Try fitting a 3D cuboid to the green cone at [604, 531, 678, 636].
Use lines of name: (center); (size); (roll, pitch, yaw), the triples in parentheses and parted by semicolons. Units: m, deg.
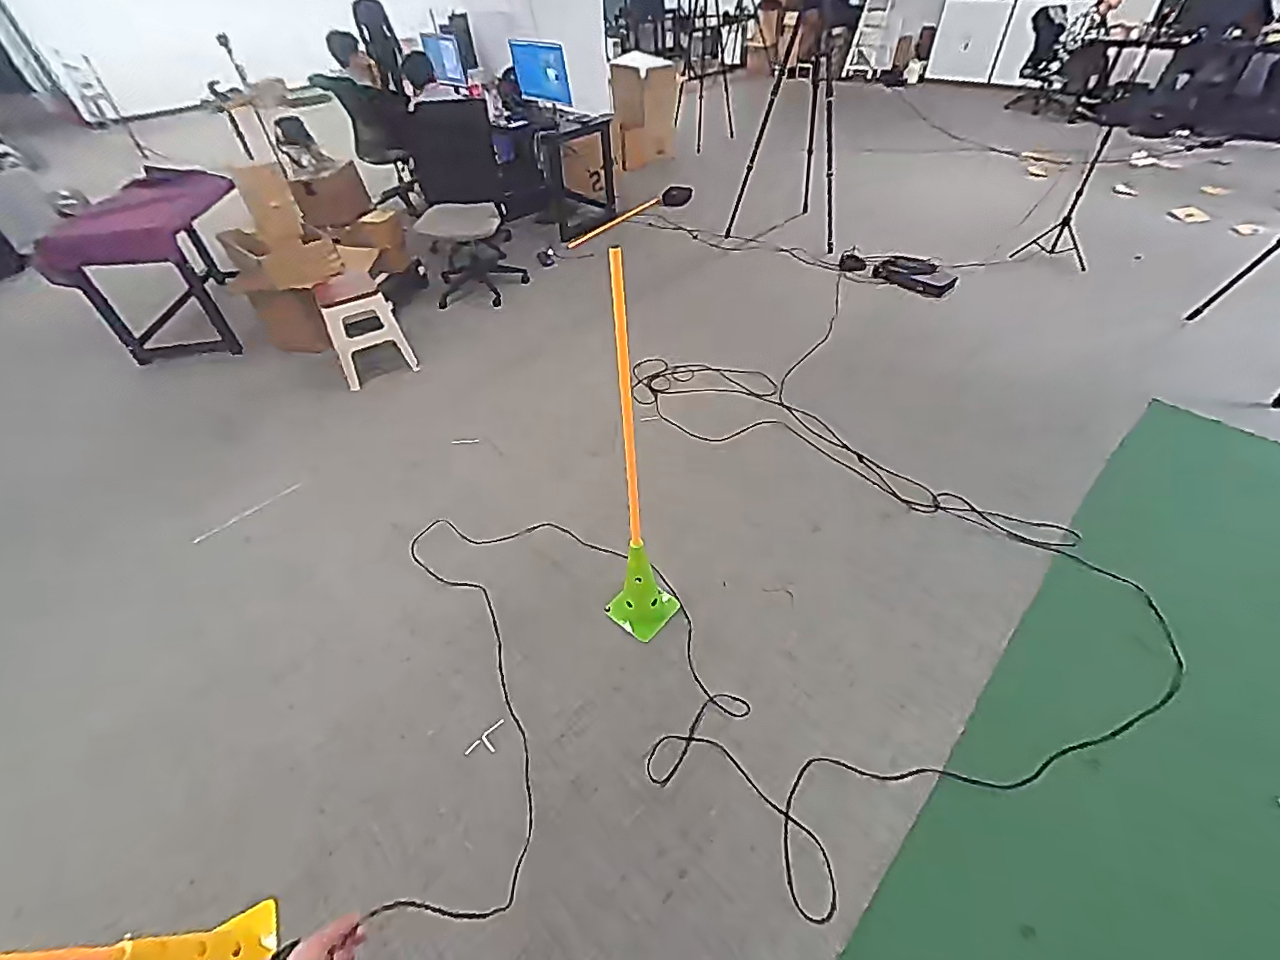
green cone: (-0.002, 0.300, 1.739); (0.200, 0.368, 0.202); (30, 52, 29)
